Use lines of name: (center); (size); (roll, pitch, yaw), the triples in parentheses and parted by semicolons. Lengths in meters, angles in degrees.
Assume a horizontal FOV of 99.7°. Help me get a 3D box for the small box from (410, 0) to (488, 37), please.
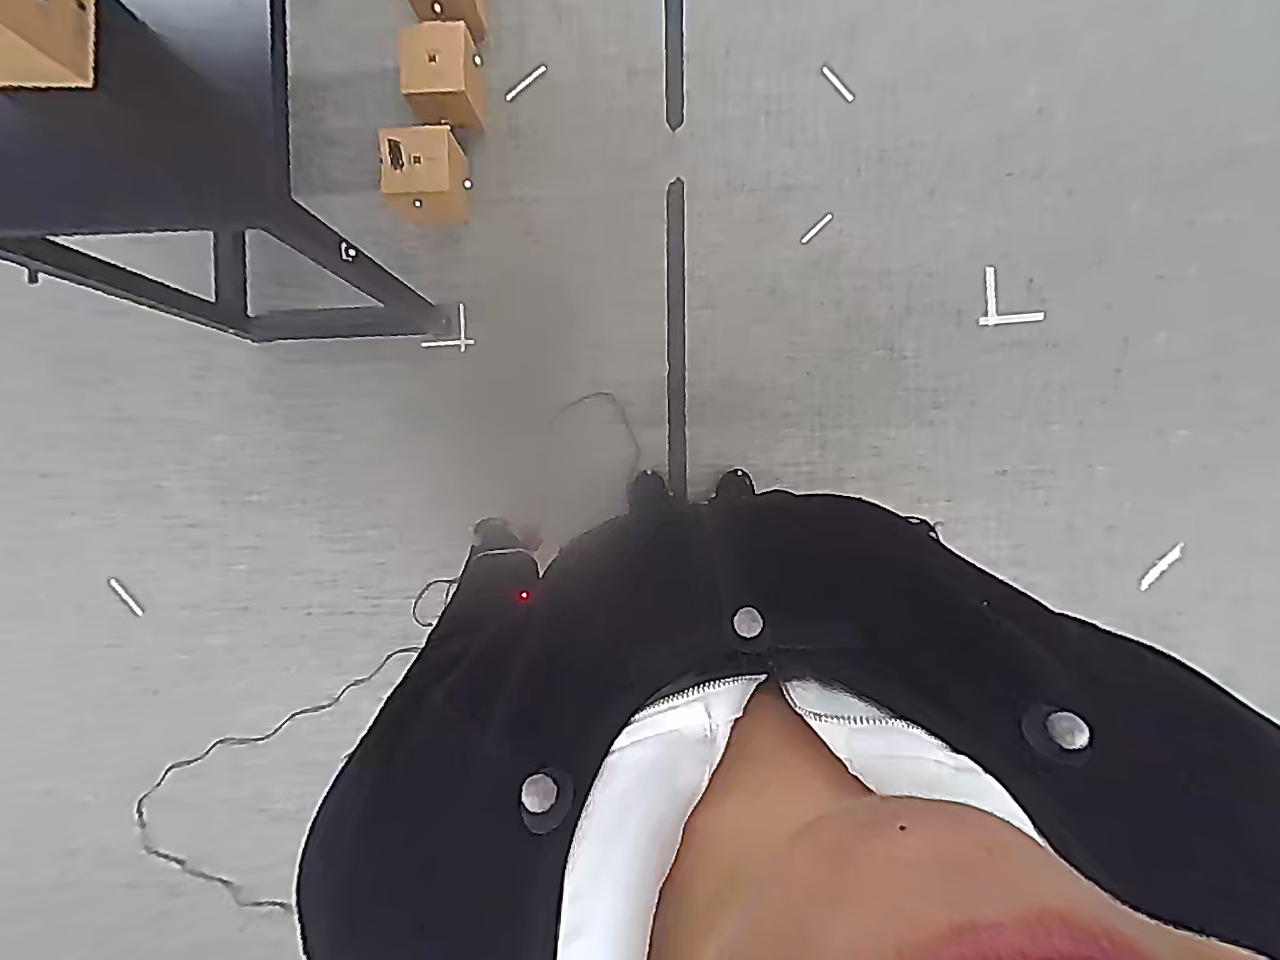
small box: (-0.516, -1.316, 1.432); (0.179, 0.176, 0.168); (-2, 91, 3)

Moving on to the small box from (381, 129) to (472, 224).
small box: (-0.563, -0.800, 1.441); (0.179, 0.176, 0.168); (-2, 91, 1)

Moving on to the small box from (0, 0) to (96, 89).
small box: (-0.893, -0.663, 0.725); (0.179, 0.176, 0.168); (2, 90, 2)

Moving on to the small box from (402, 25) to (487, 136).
small box: (-0.514, -1.053, 1.437); (0.168, 0.176, 0.179); (-2, 91, 3)
